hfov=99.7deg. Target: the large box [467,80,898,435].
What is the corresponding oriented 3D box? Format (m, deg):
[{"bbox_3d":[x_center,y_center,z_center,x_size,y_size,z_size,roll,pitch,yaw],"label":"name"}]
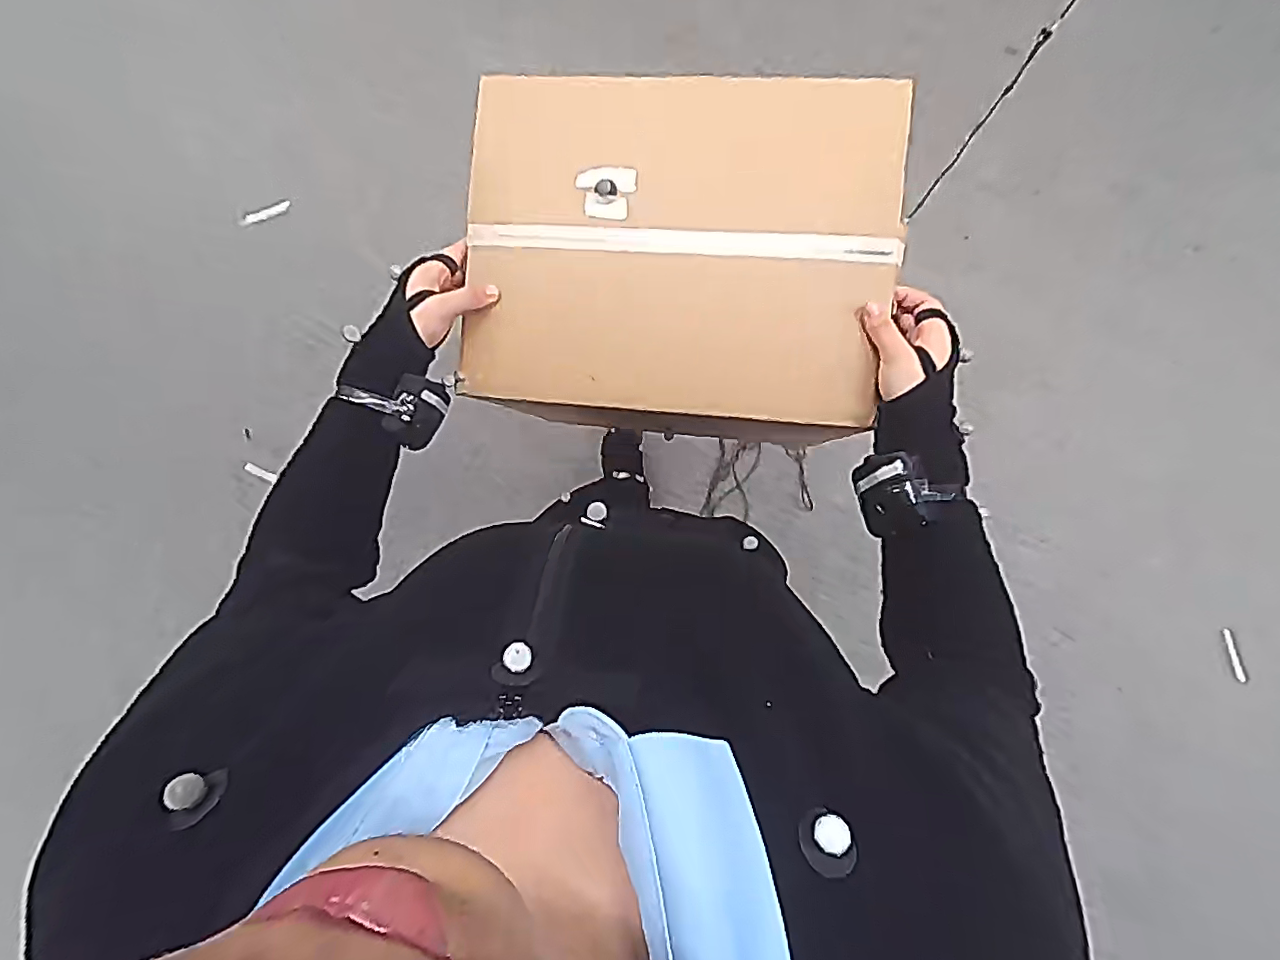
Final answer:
[{"bbox_3d":[0.052,-0.228,0.668,0.408,0.320,0.320,5,90,8],"label":"large box"}]
